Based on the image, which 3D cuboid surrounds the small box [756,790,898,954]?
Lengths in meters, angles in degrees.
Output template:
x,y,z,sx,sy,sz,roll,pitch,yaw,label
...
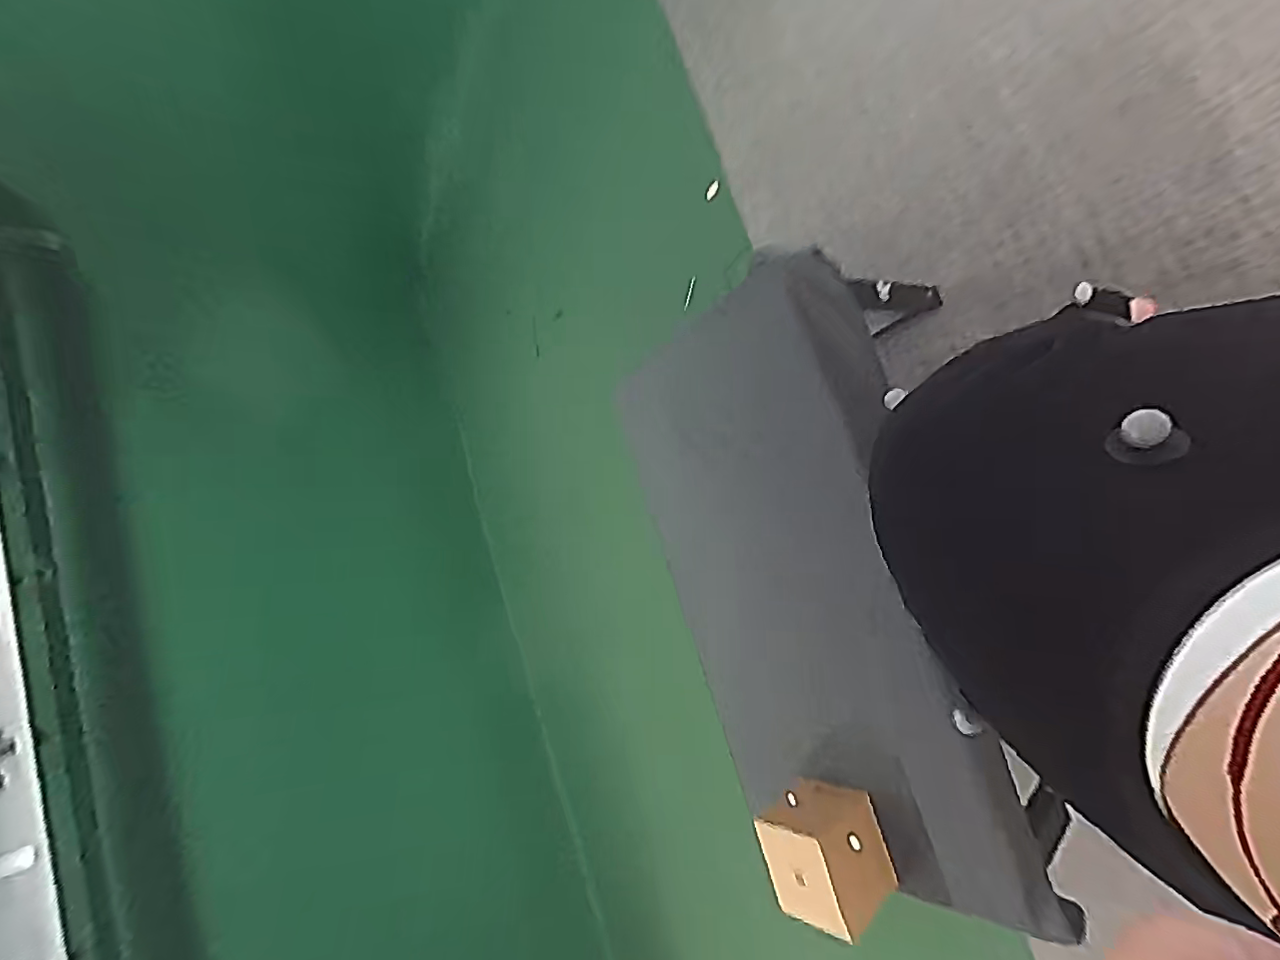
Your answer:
x,y,z,sx,sy,sz,roll,pitch,yaw,label
0.358,0.731,1.038,0.168,0.176,0.179,-25,79,54,small box
